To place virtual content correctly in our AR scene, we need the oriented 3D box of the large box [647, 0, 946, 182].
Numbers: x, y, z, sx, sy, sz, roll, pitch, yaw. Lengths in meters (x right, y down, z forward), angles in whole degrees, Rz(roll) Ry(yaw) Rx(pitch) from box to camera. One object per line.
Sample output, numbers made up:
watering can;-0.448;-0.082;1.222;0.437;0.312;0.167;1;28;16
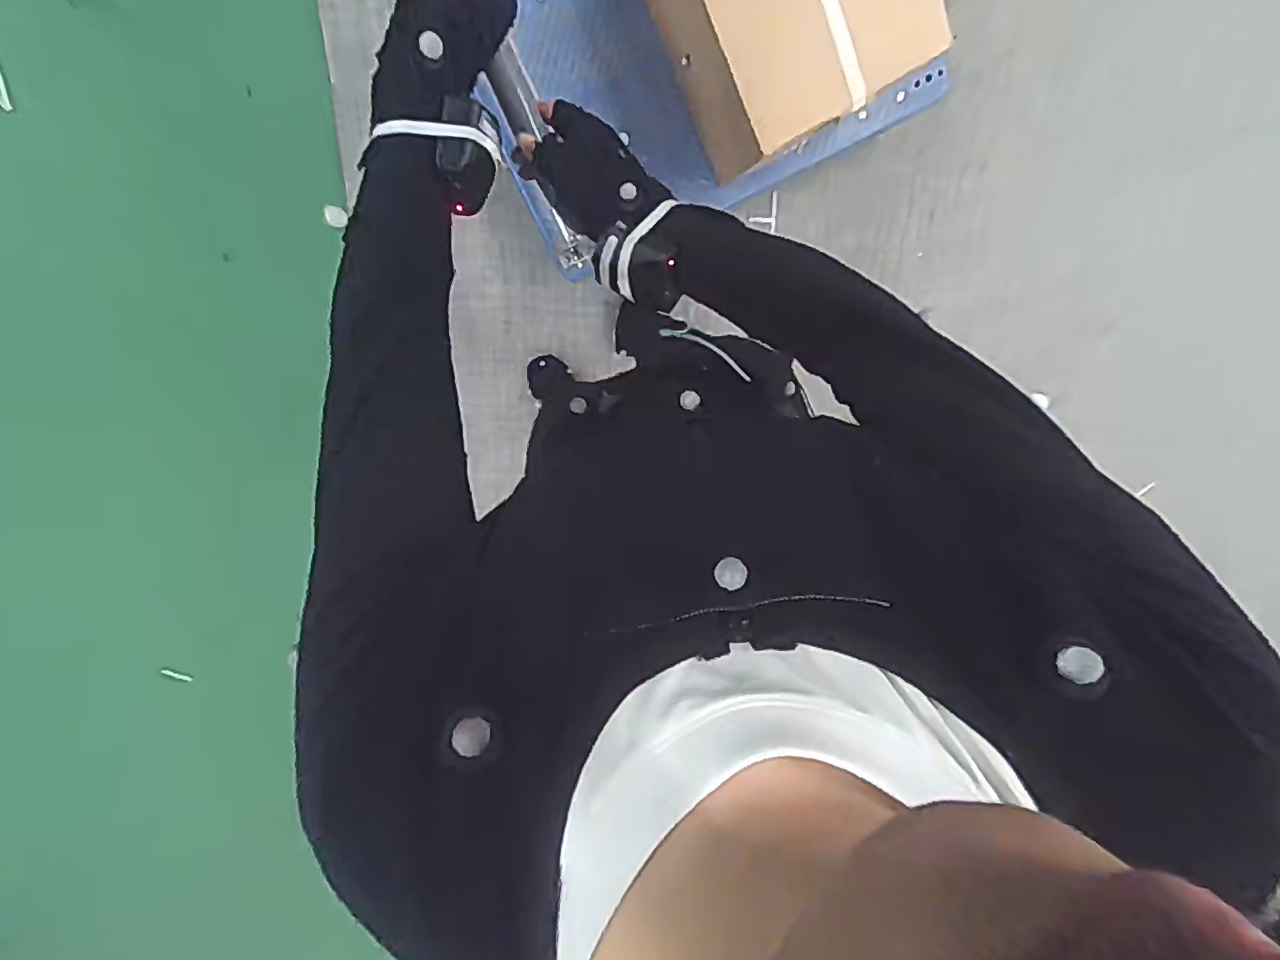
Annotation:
large box;0.224;-0.793;0.901;0.320;0.320;0.408;-28;109;6
